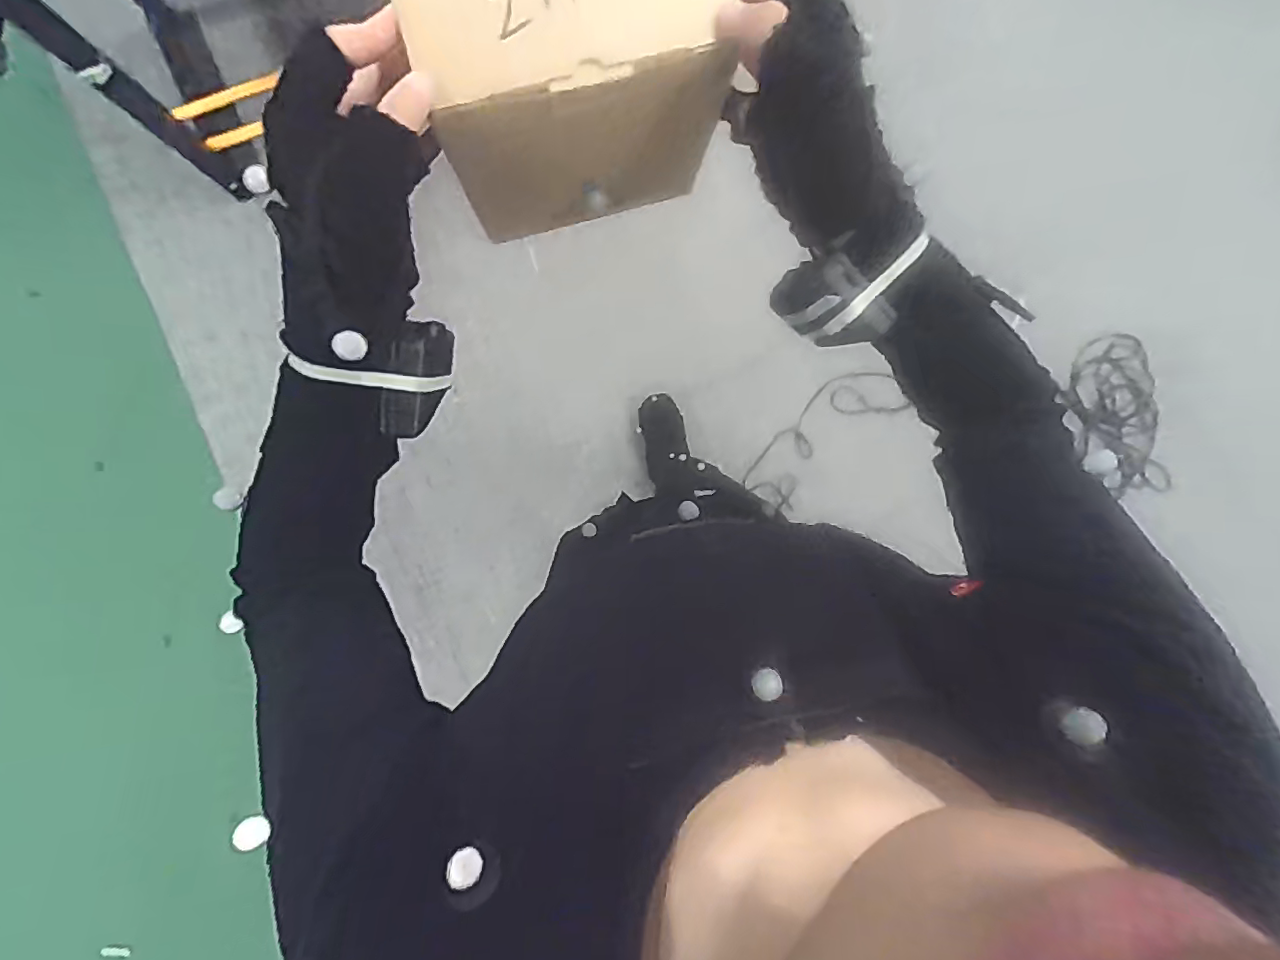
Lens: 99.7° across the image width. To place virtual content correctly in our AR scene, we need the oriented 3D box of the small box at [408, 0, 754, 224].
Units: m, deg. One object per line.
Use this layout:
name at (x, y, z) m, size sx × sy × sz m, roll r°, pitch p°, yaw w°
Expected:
small box at (-0.050, -0.296, 0.335) m, size 0.168 × 0.176 × 0.179 m, roll -16°, pitch 93°, yaw -3°
